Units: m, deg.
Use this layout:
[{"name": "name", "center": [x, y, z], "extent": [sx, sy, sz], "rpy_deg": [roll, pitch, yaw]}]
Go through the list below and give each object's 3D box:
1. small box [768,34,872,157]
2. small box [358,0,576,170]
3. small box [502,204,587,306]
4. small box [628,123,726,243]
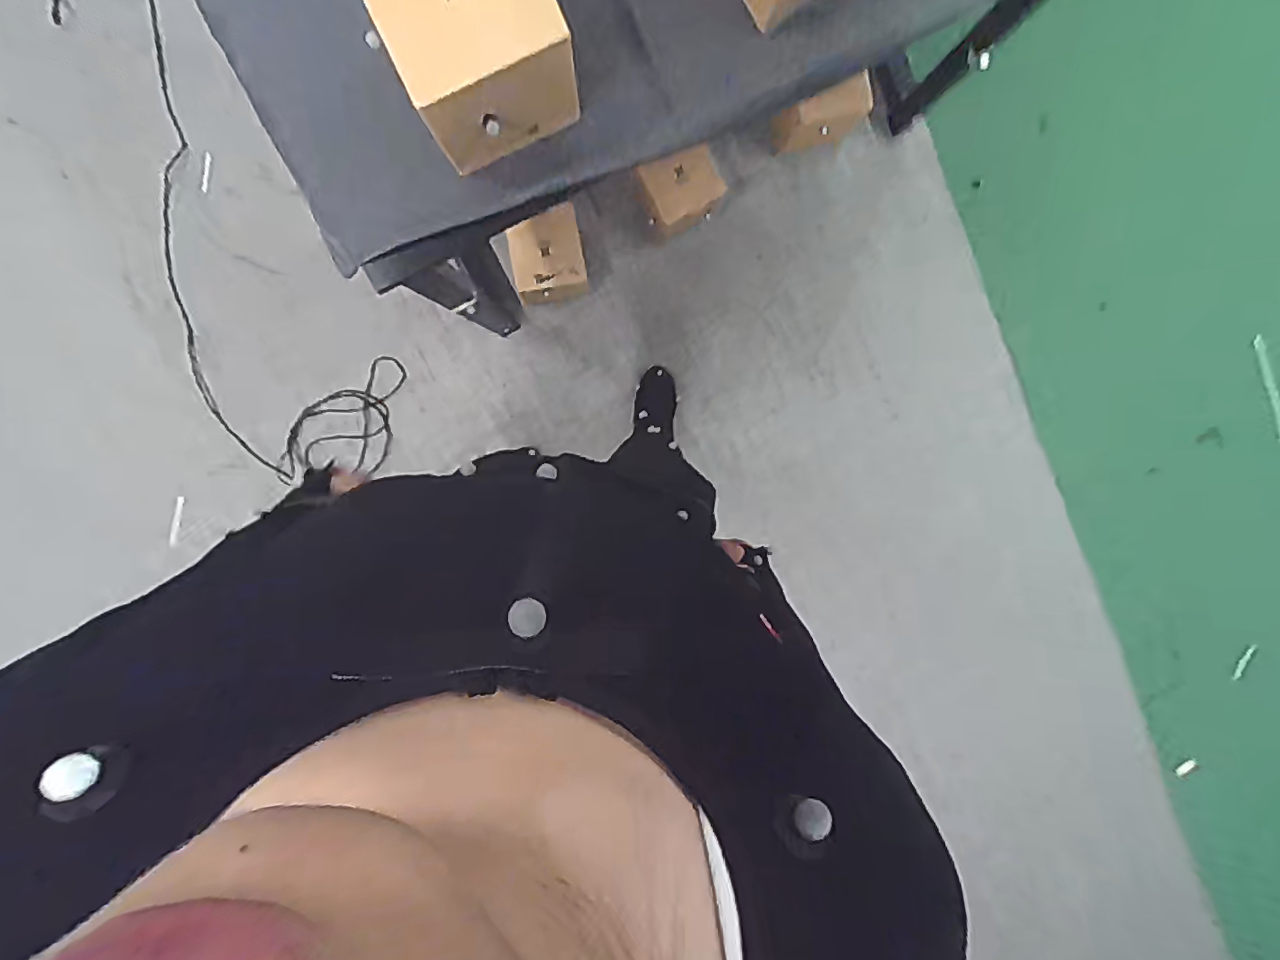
[{"name": "small box", "center": [0.414, -0.894, 1.276], "extent": [0.179, 0.176, 0.168], "rpy_deg": [-14, 100, -2]}, {"name": "small box", "center": [-0.178, -0.465, 0.576], "extent": [0.168, 0.176, 0.179], "rpy_deg": [-25, 99, 1]}, {"name": "small box", "center": [-0.223, -0.533, 1.301], "extent": [0.168, 0.176, 0.179], "rpy_deg": [-9, 99, -1]}, {"name": "small box", "center": [0.083, -0.692, 1.291], "extent": [0.168, 0.176, 0.179], "rpy_deg": [-29, 98, 1]}]
